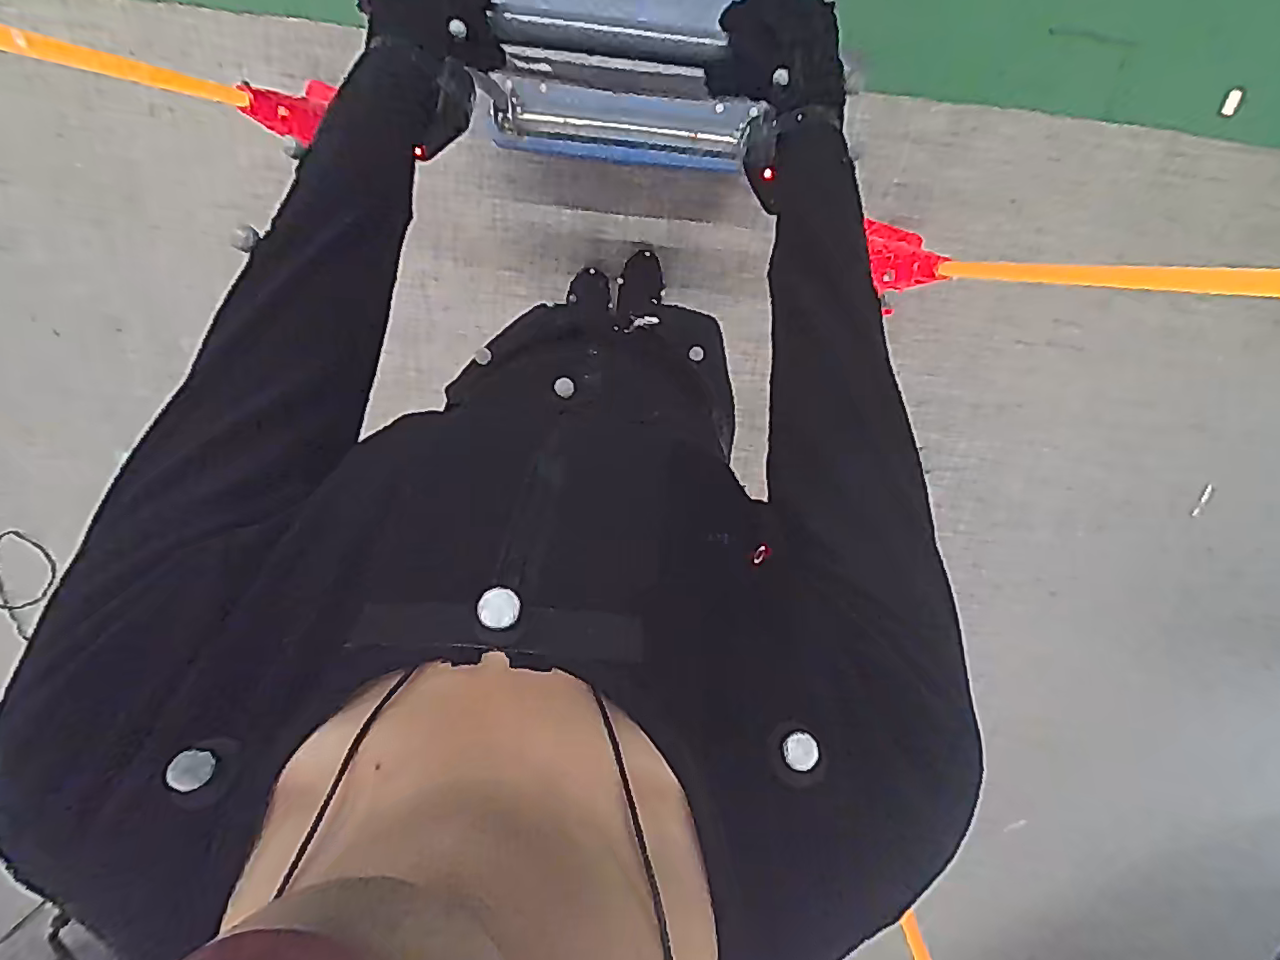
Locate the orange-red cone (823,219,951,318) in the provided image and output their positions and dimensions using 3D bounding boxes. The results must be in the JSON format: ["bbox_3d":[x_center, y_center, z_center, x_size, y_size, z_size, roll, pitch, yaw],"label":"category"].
[{"bbox_3d":[0.579,-0.463,1.195,0.198,0.360,0.199,16,111,-6],"label":"orange-red cone"}]
